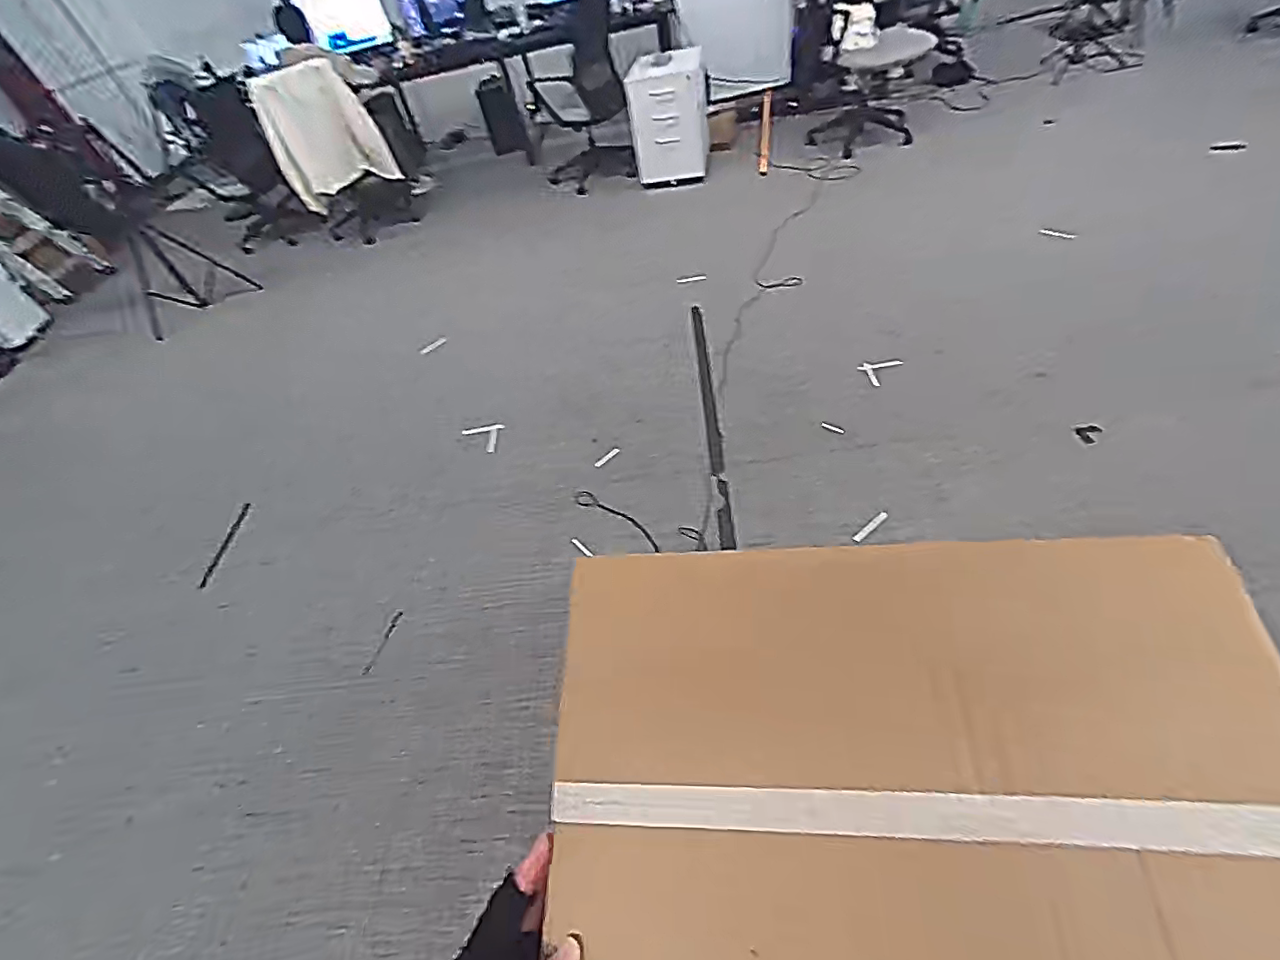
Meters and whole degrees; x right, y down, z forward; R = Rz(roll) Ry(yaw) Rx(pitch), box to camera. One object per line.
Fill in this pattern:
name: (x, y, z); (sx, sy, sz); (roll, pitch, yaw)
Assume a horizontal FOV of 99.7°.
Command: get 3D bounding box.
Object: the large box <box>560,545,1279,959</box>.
large box: (0.177, 0.260, 0.432); (0.408, 0.320, 0.320); (-4, 62, 10)
